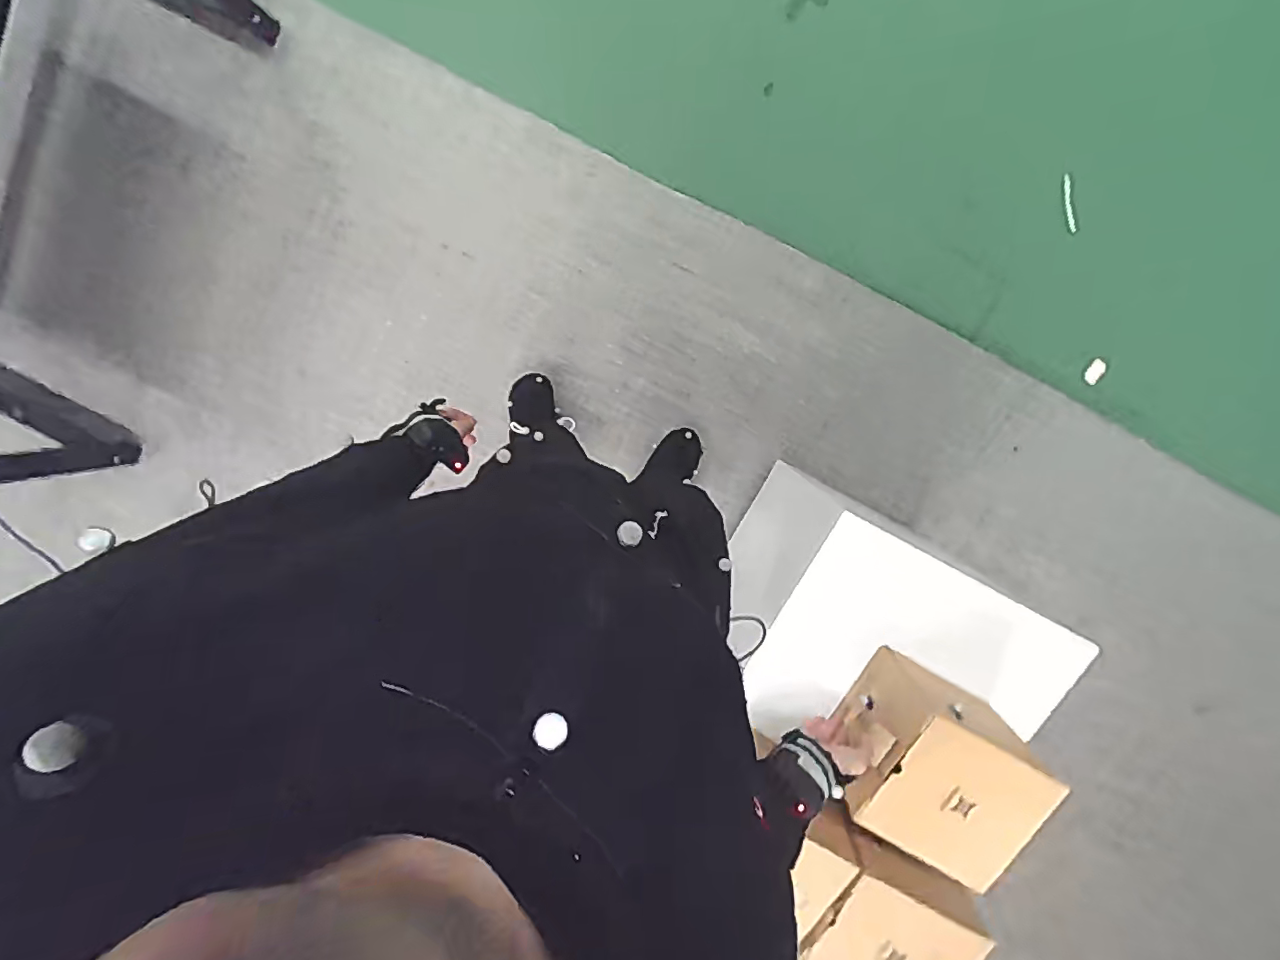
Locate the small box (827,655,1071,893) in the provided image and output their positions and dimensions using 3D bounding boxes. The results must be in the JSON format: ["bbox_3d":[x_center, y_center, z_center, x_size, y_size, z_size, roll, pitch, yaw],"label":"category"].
[{"bbox_3d":[0.372,0.356,0.689,0.179,0.176,0.168,30,100,0],"label":"small box"}]
